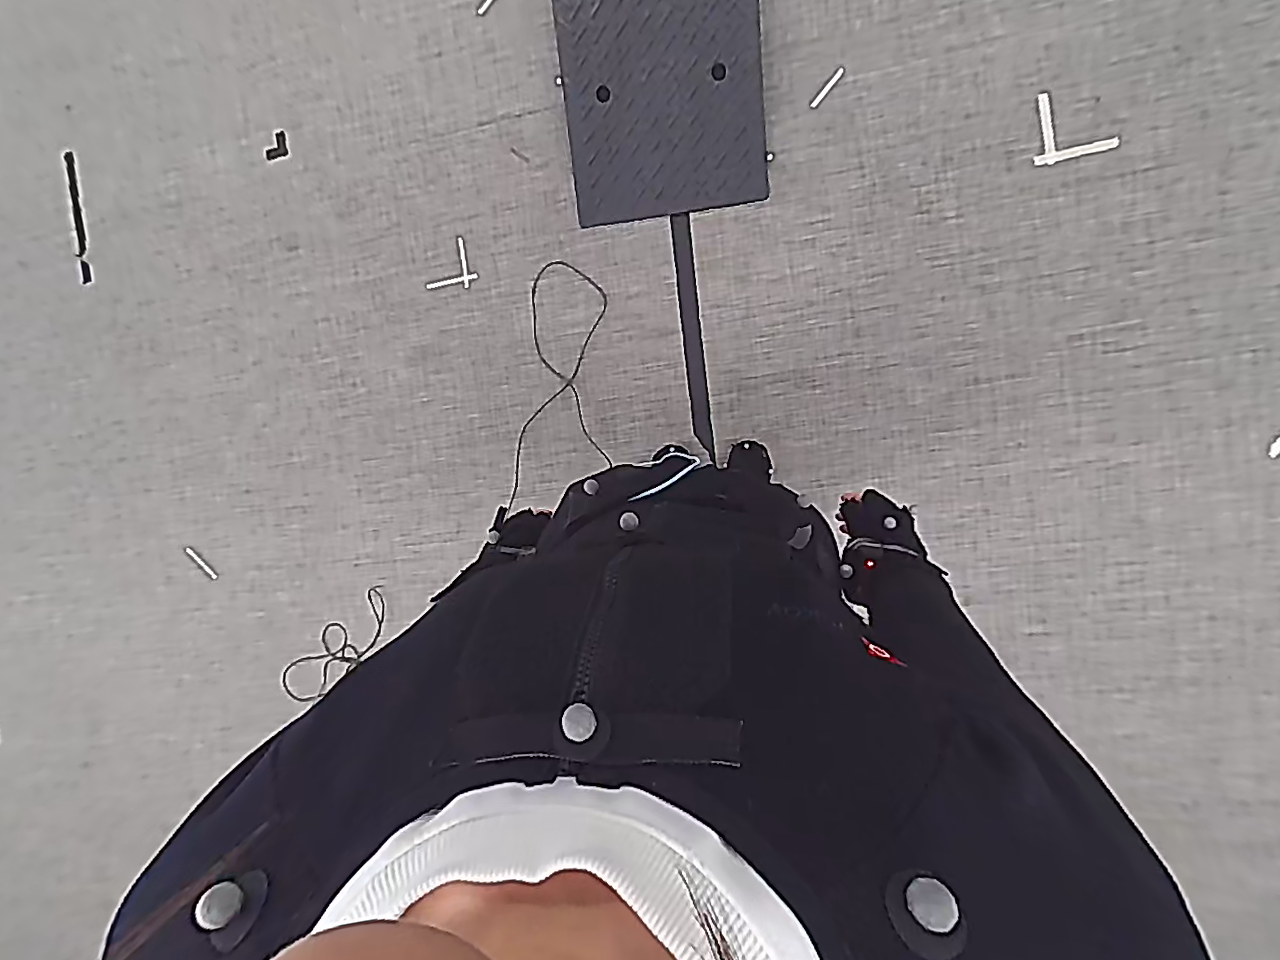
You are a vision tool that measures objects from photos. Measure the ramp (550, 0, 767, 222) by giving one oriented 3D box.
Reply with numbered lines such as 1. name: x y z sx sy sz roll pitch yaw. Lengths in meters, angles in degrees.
1. ramp: 0.024 -1.178 1.270 0.509 0.206 0.991 -6 94 9
